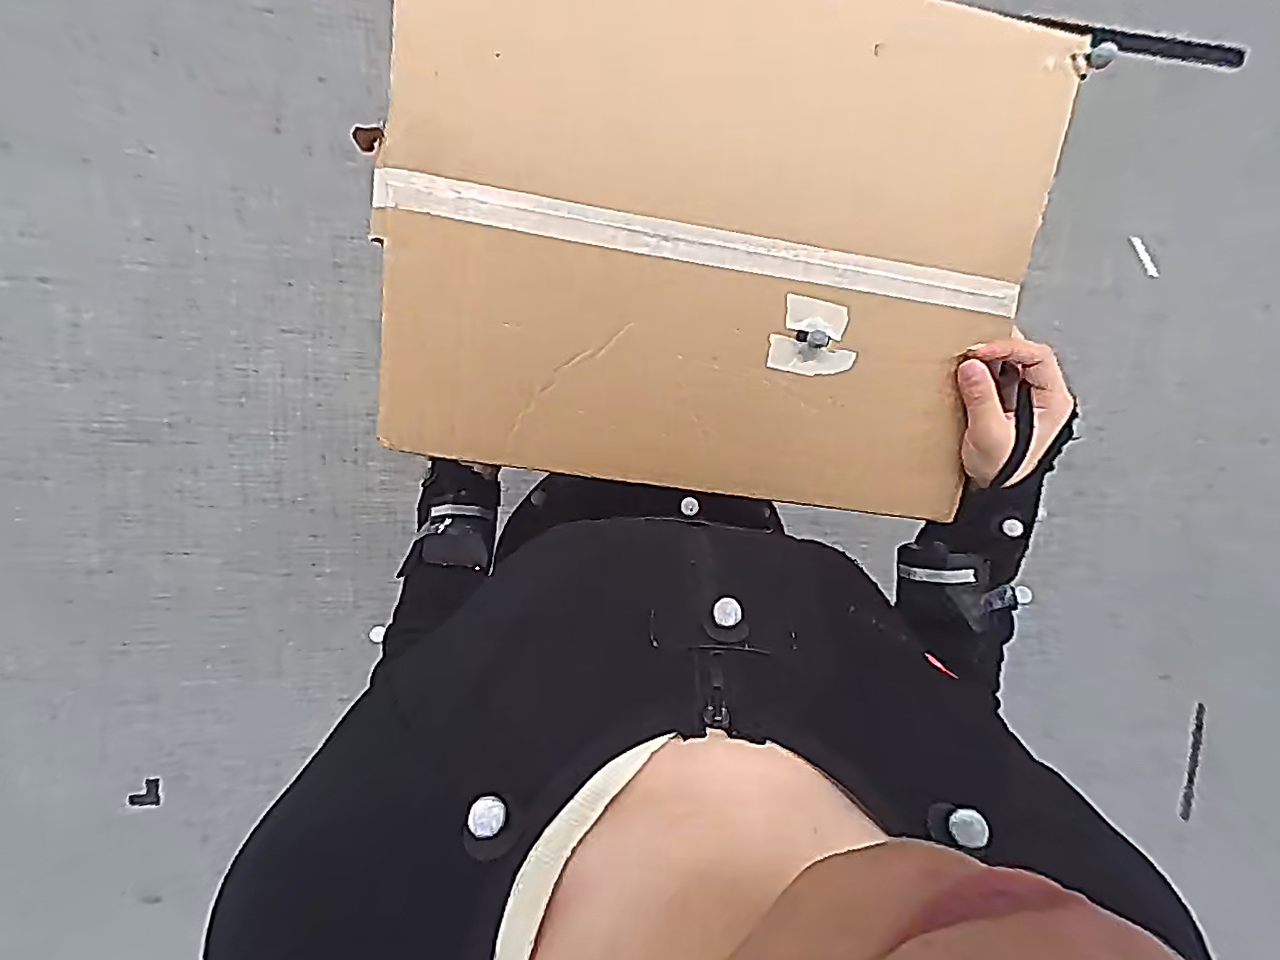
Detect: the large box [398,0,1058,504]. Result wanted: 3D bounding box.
[{"bbox_3d":[0.036,-0.181,0.492,0.408,0.320,0.320,7,103,-8],"label":"large box"}]
